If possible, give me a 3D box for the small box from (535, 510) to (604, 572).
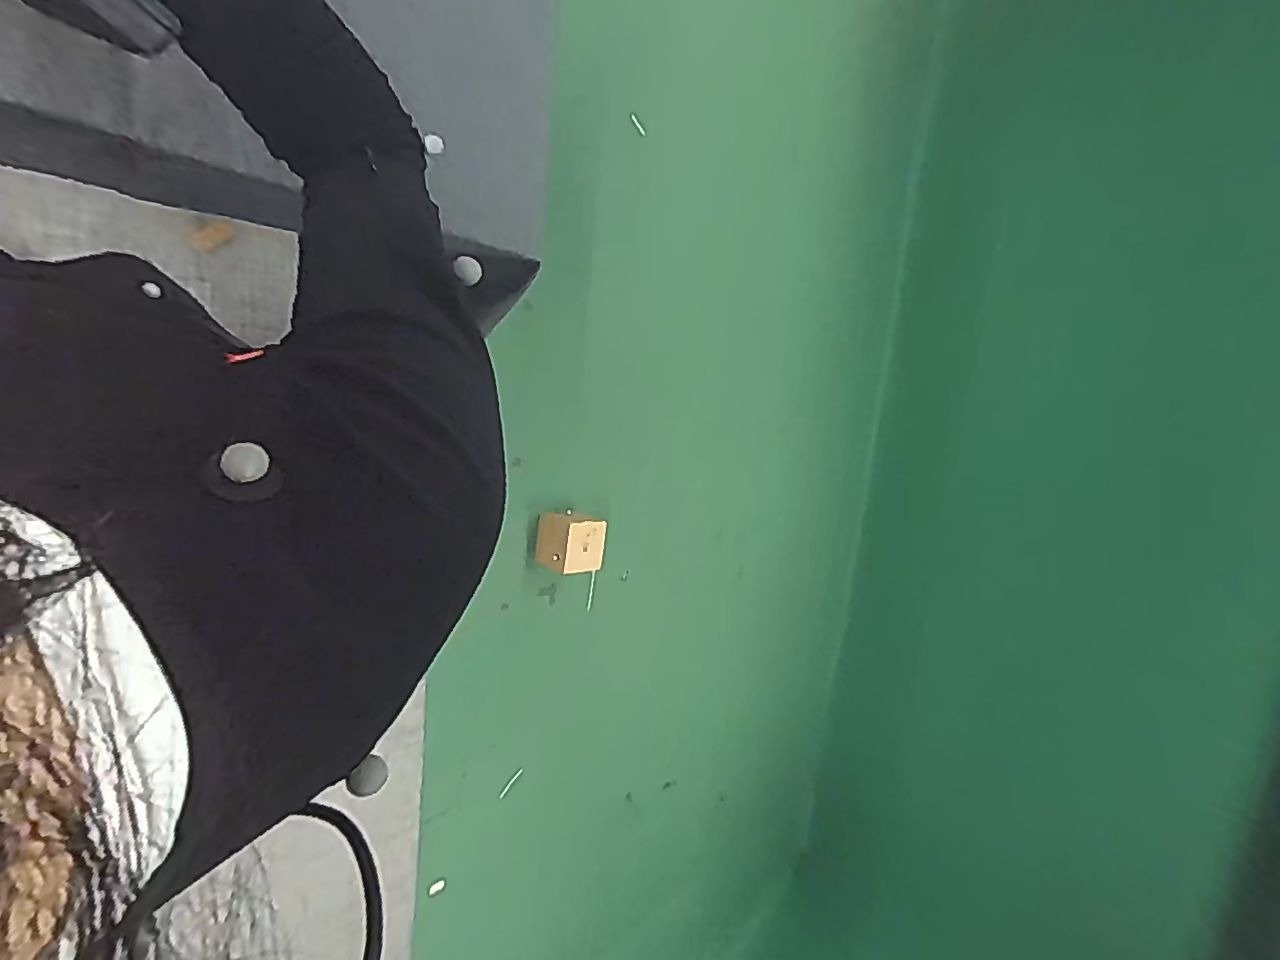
[{"bbox_3d":[-0.249,0.206,1.879,0.168,0.176,0.179,2,98,-47],"label":"small box"}]
